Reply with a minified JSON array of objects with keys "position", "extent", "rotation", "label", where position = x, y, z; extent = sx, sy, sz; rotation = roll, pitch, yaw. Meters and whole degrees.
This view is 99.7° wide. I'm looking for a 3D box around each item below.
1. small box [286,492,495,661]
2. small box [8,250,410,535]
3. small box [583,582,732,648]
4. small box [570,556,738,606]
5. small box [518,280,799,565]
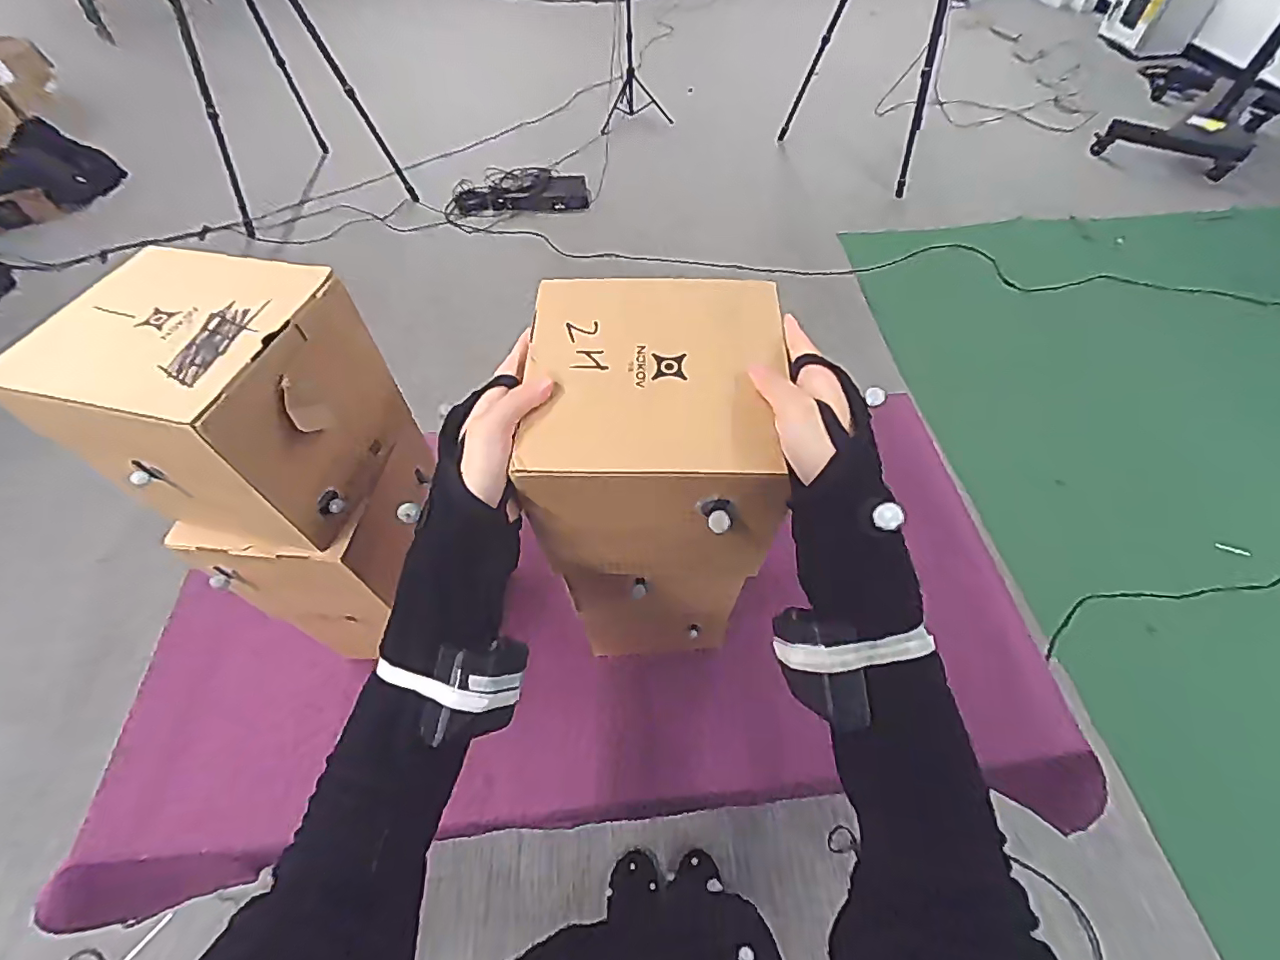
[{"position":[-0.316,0.134,0.729],"extent":[0.179,0.176,0.168],"rotation":[4,55,4],"label":"small box"},{"position":[-0.335,-0.070,0.471],"extent":[0.179,0.176,0.168],"rotation":[10,54,8],"label":"small box"},{"position":[0.017,0.118,0.733],"extent":[0.179,0.176,0.168],"rotation":[-4,54,-1],"label":"small box"},{"position":[0.012,0.032,0.588],"extent":[0.179,0.176,0.168],"rotation":[-2,59,0],"label":"small box"},{"position":[0.014,-0.038,0.440],"extent":[0.179,0.176,0.168],"rotation":[0,59,2],"label":"small box"}]
